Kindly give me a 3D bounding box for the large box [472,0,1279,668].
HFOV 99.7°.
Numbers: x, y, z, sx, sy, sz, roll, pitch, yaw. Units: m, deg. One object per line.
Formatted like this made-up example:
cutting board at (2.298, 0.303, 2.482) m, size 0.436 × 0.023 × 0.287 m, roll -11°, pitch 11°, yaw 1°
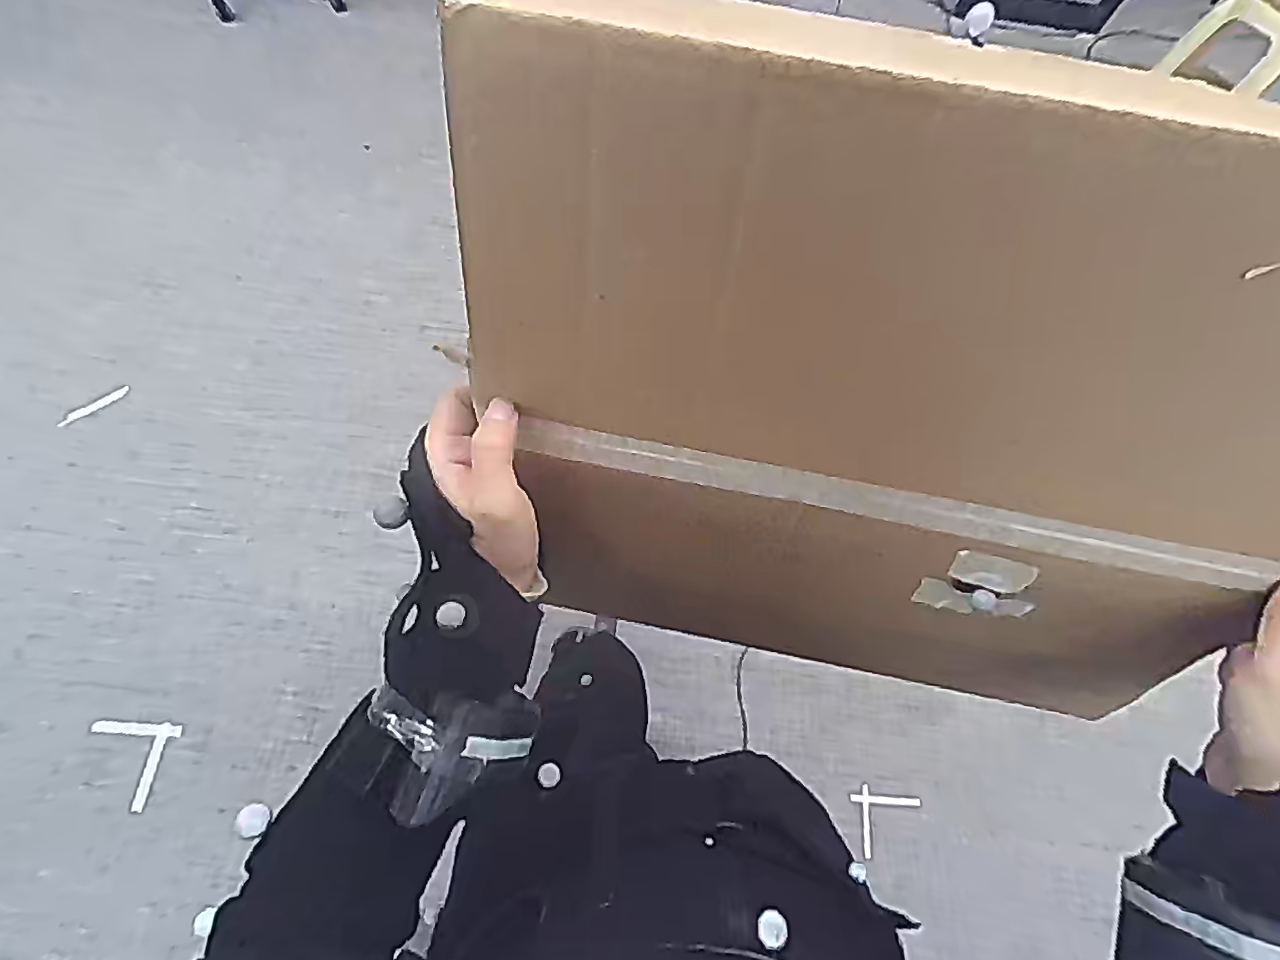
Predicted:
large box at (0.148, -0.119, 0.367) m, size 0.408 × 0.320 × 0.320 m, roll 10°, pitch 44°, yaw 2°
